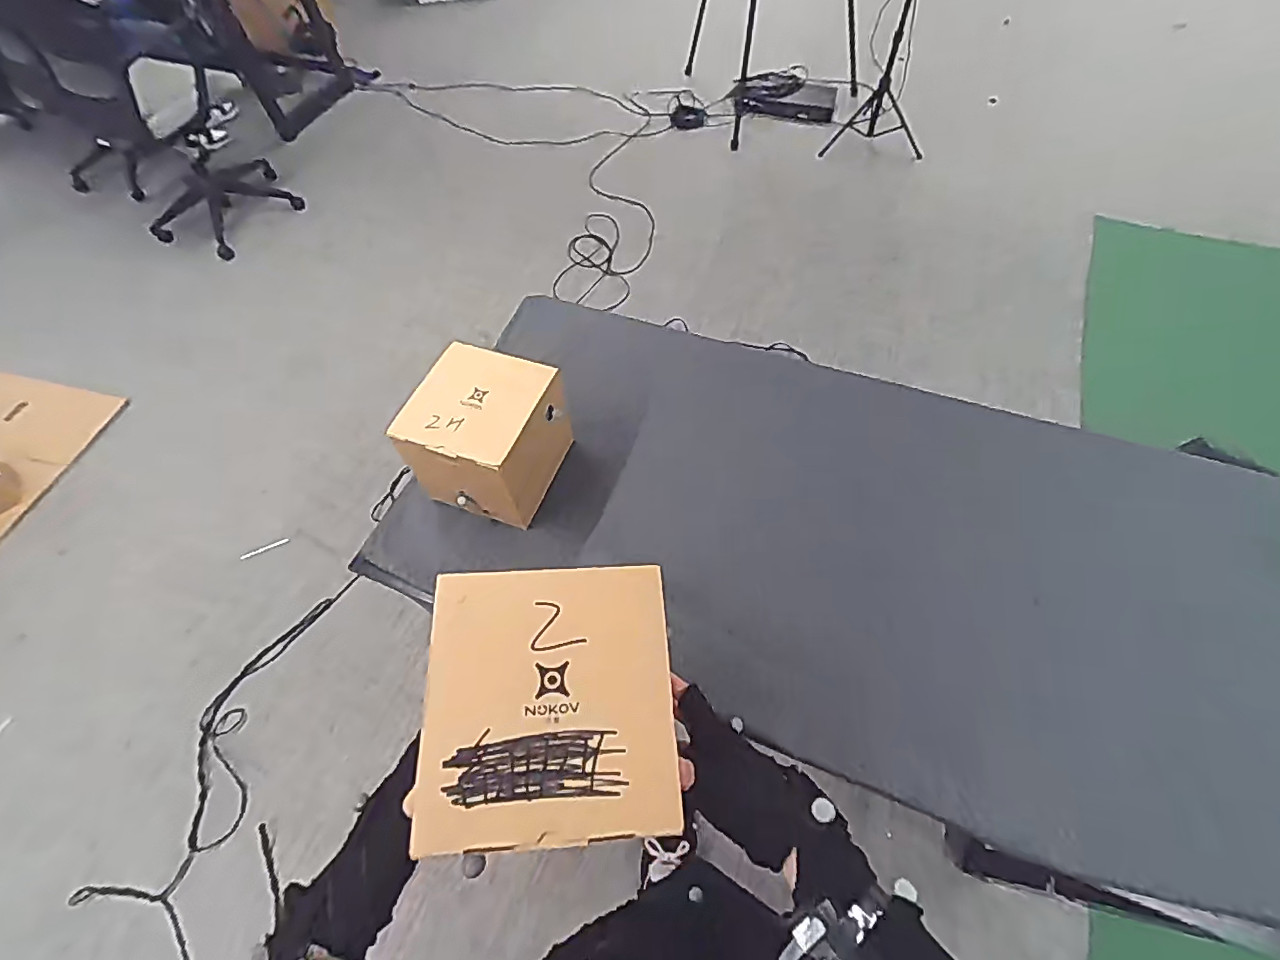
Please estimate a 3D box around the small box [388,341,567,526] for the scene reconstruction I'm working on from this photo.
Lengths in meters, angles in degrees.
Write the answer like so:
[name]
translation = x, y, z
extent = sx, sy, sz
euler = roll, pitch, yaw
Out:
[small box]
translation = -0.214, -0.063, 0.774
extent = 0.168, 0.176, 0.179
euler = 17, 60, 11
